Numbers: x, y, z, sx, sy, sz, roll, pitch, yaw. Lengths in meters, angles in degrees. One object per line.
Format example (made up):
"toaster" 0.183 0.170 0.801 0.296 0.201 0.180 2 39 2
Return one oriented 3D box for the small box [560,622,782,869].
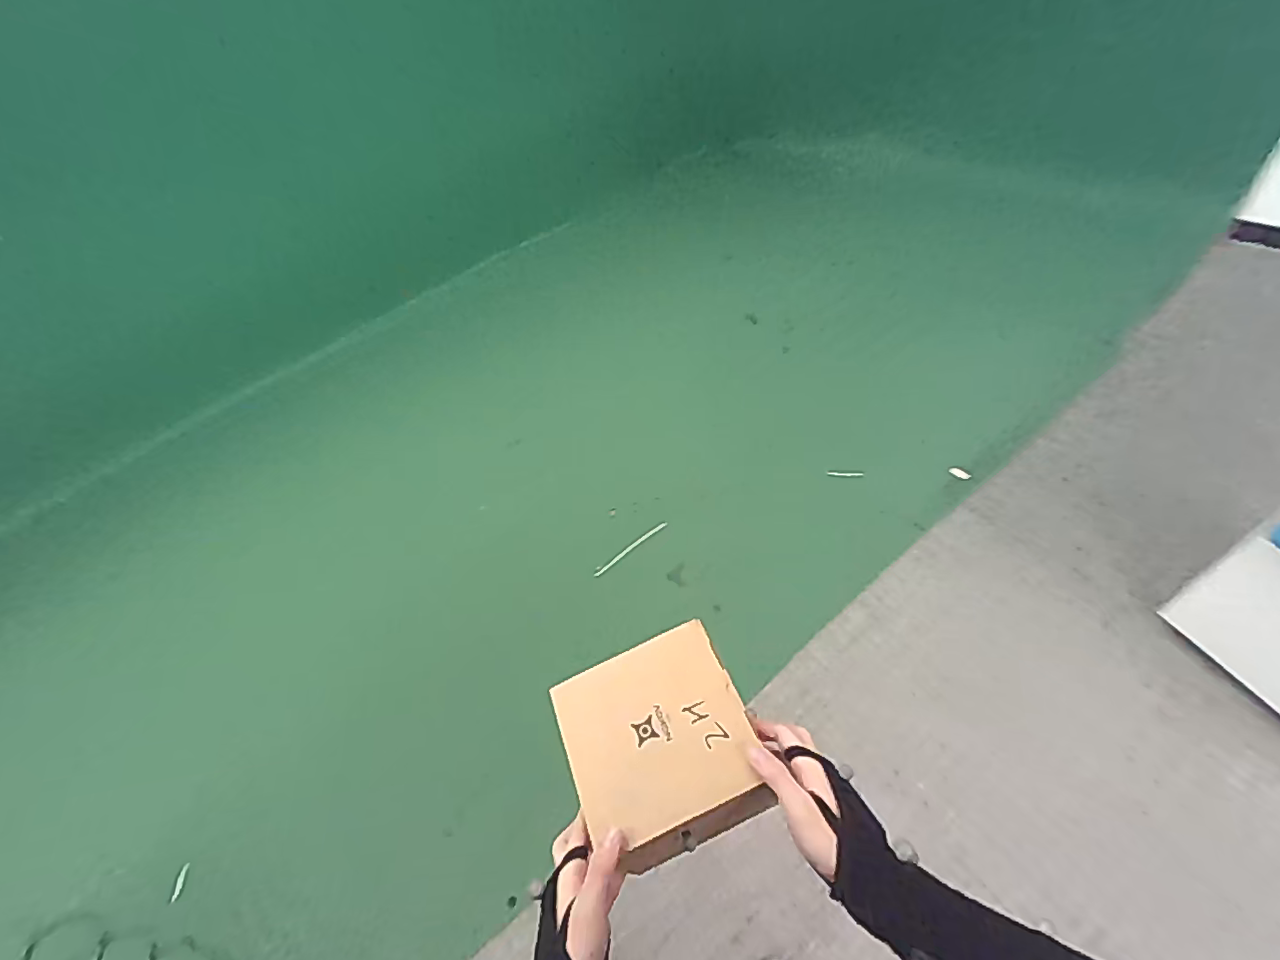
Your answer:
"small box" 0.039 0.287 0.577 0.179 0.176 0.168 -23 51 -4
